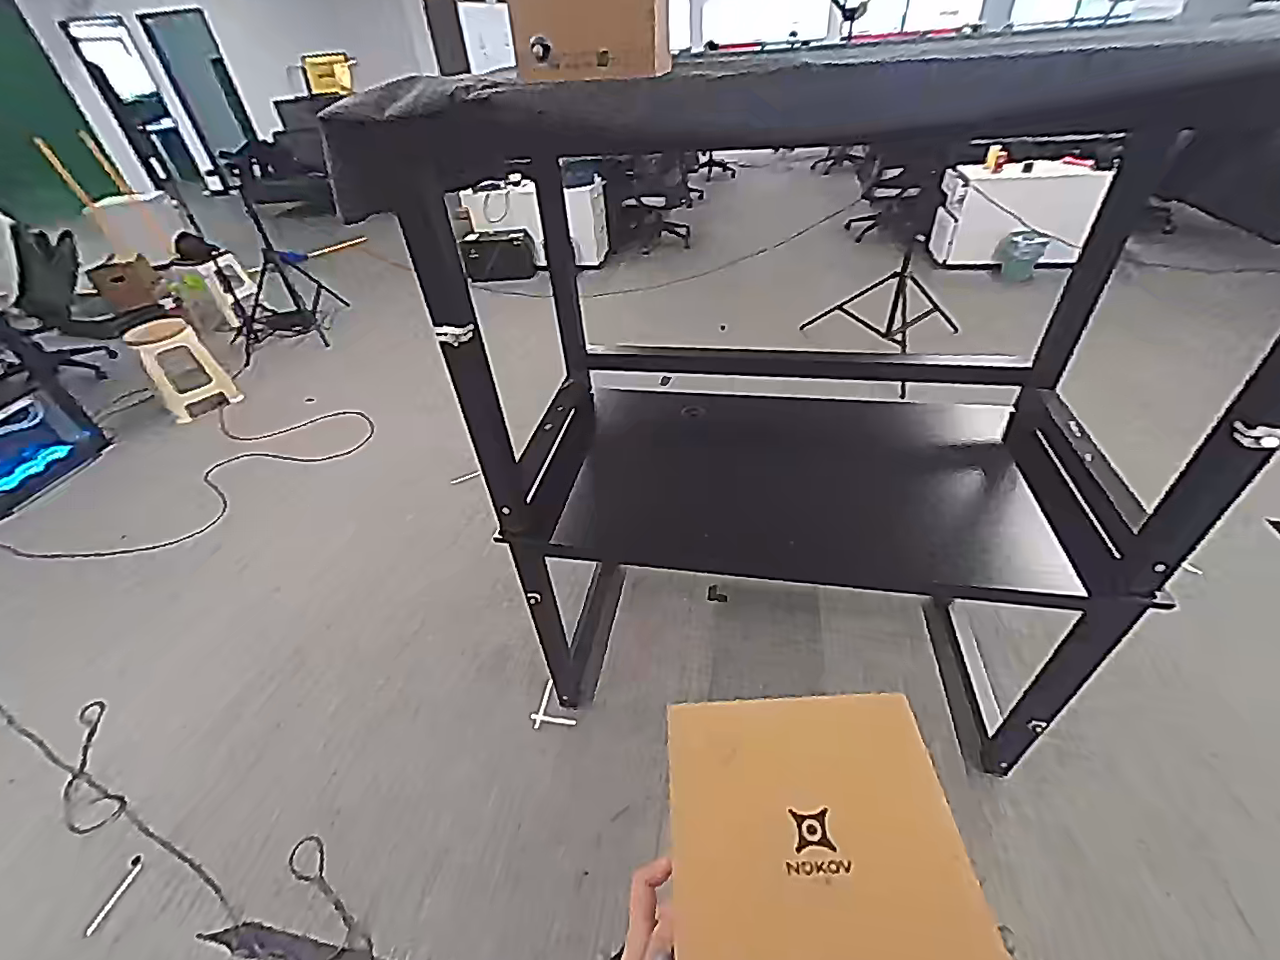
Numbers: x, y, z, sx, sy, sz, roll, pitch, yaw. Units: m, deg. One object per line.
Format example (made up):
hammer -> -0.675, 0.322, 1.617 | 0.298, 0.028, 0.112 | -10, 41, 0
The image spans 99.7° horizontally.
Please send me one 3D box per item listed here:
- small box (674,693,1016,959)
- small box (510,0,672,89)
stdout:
small box -> 0.110, 0.269, 0.360 | 0.168, 0.176, 0.179 | -5, 38, 4
small box -> -0.052, -0.572, 0.639 | 0.168, 0.176, 0.179 | 3, 38, 8
